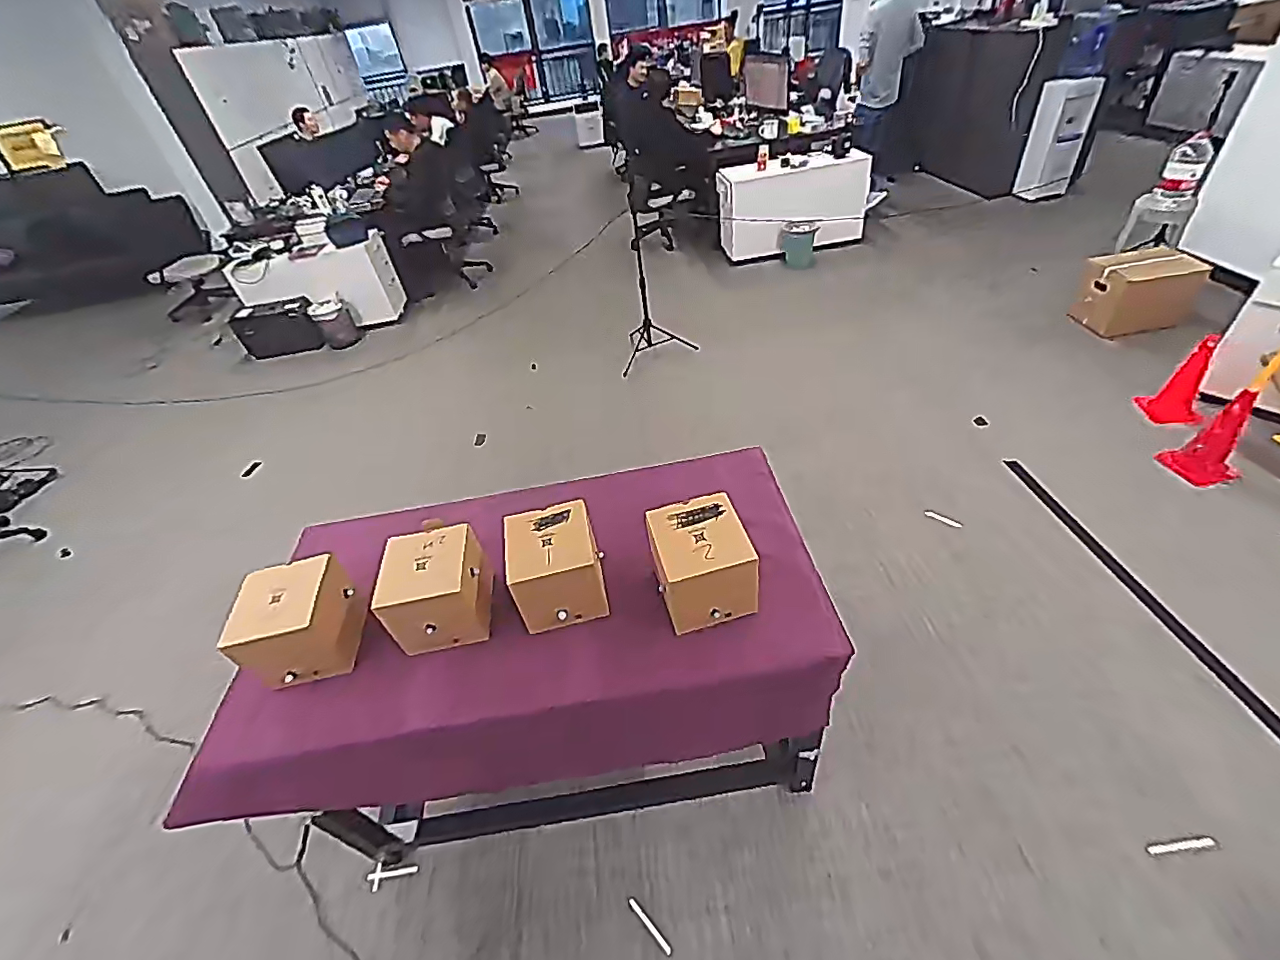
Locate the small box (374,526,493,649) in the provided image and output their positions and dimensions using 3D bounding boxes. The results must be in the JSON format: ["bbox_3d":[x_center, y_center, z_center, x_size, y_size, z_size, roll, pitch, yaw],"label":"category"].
[{"bbox_3d":[-0.404,0.223,1.094,0.168,0.176,0.179,-11,41,-1],"label":"small box"}]

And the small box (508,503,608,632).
[{"bbox_3d":[-0.167,0.179,1.101,0.168,0.176,0.179,-13,42,-4],"label":"small box"}]

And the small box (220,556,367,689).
[{"bbox_3d":[-0.672,0.284,1.077,0.168,0.176,0.179,-12,41,-3],"label":"small box"}]
